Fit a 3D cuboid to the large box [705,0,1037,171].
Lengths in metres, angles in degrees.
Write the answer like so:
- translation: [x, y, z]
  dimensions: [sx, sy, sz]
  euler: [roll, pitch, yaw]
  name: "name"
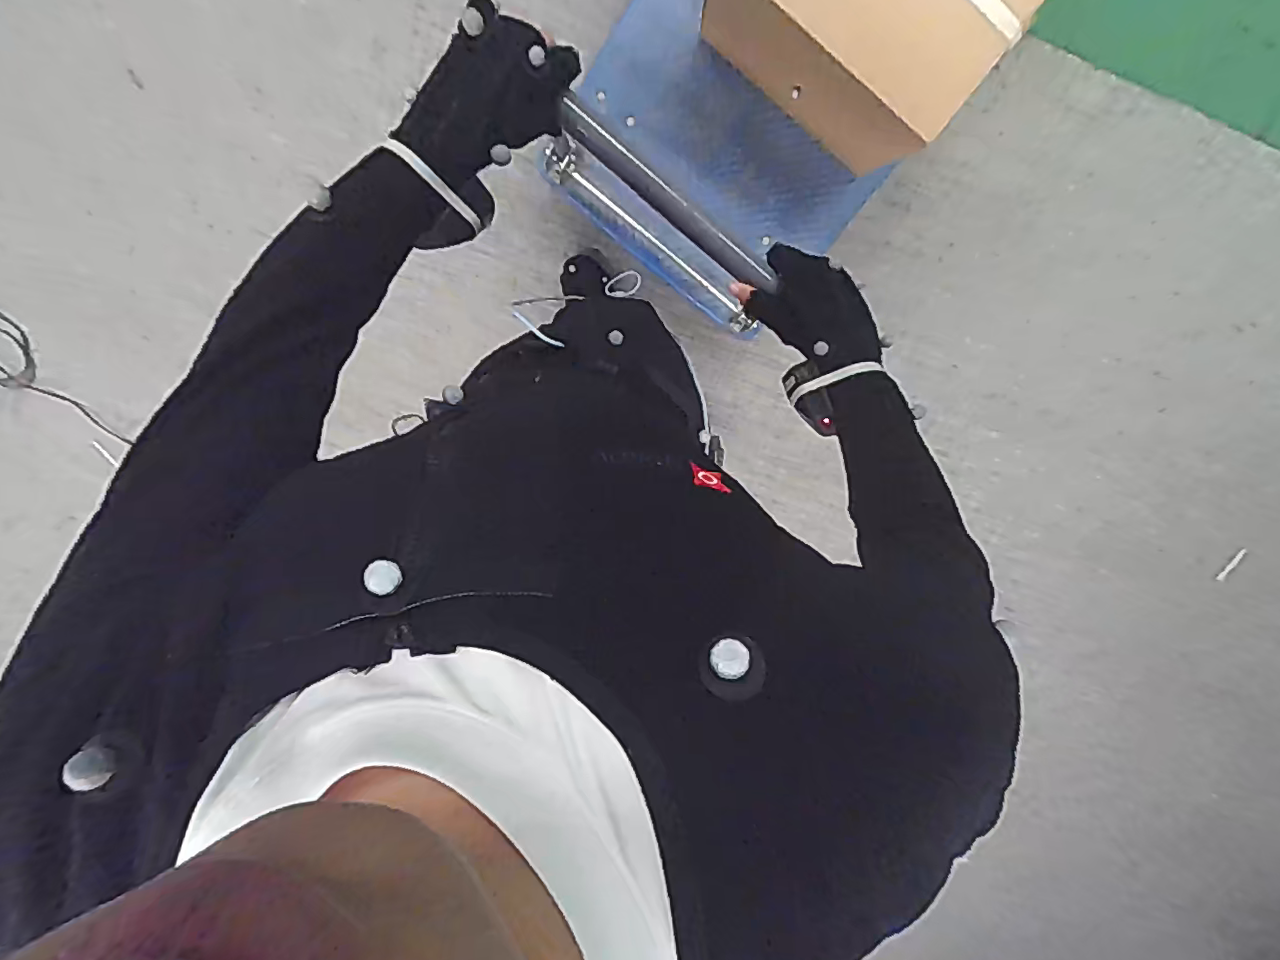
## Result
- translation: [0.358, -0.774, 0.859]
  dimensions: [0.408, 0.320, 0.320]
  euler: [34, 109, -10]
  name: "large box"
